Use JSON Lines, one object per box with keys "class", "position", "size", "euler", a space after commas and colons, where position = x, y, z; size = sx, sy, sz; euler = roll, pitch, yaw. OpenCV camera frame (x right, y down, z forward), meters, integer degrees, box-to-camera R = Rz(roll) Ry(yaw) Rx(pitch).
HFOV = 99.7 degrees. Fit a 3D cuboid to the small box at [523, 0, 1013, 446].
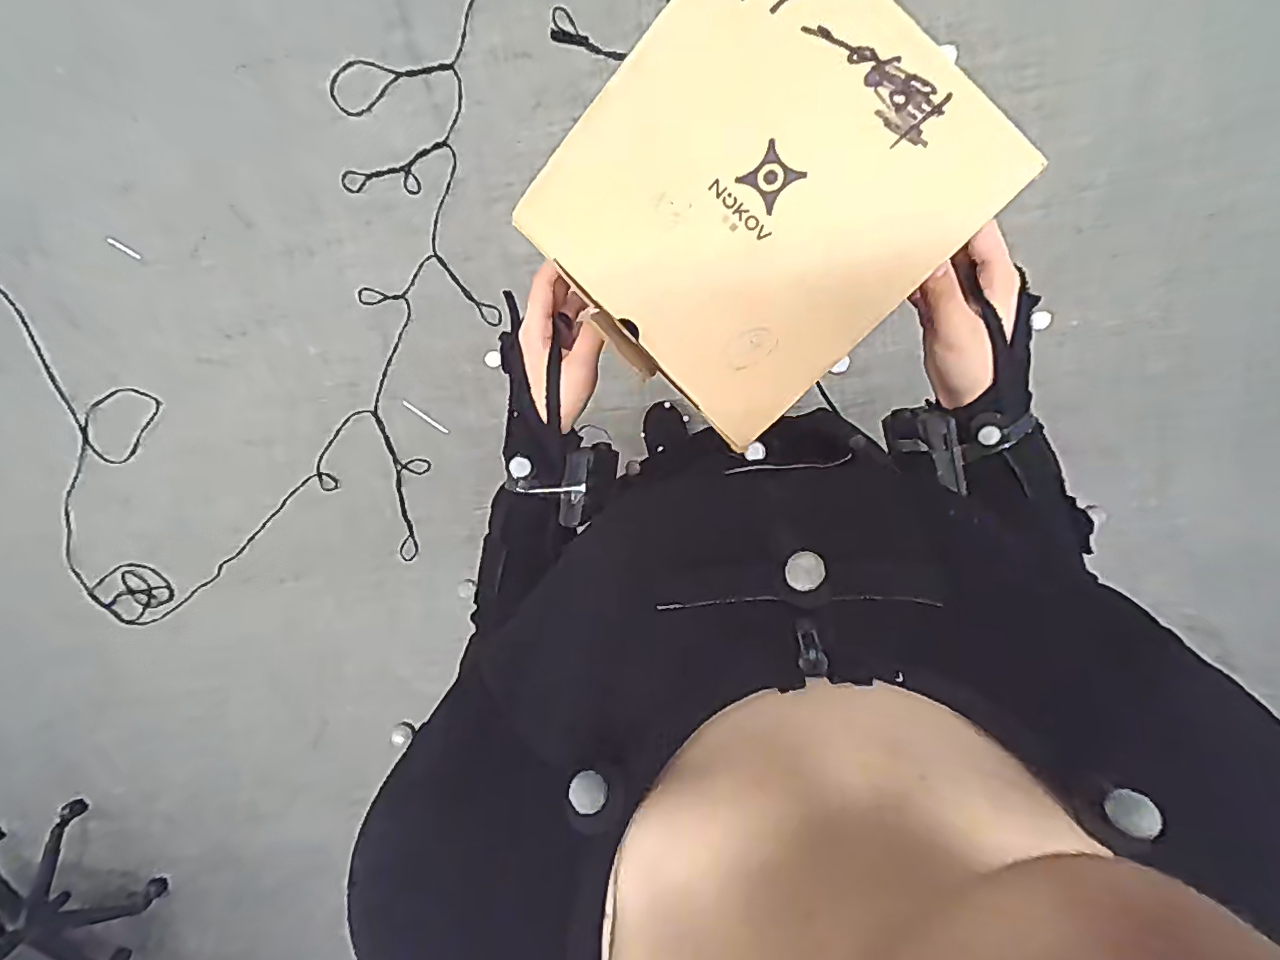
{"class": "small box", "position": [0.067, -0.145, 0.336], "size": [0.168, 0.176, 0.179], "euler": [45, 105, -1]}
